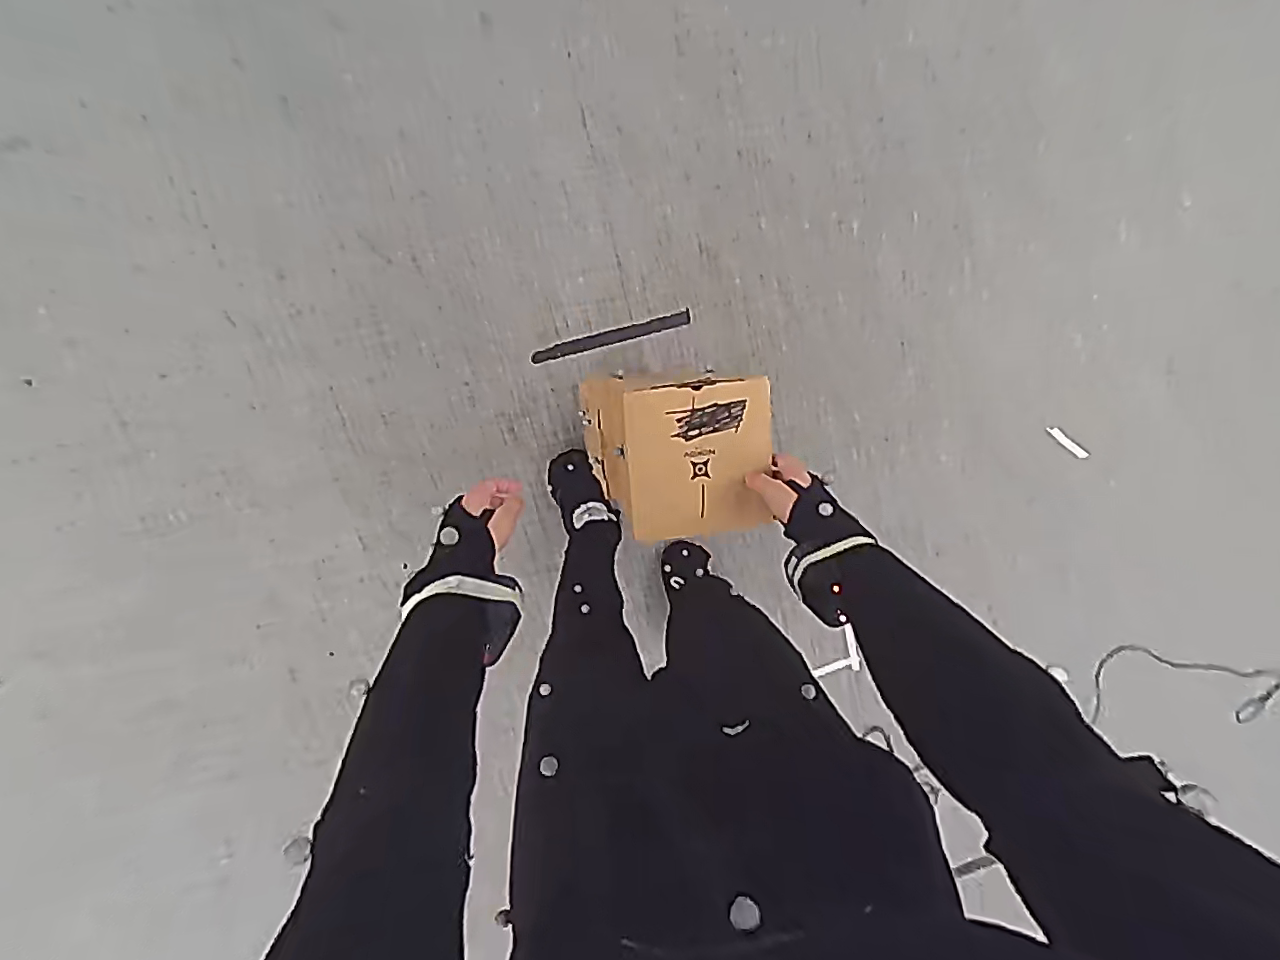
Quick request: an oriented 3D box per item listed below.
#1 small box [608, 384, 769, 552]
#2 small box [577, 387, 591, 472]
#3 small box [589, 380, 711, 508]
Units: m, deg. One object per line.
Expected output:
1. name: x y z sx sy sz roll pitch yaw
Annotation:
1. small box: 0.054 -0.027 0.683 0.168 0.176 0.179 -6 105 -7
2. small box: -0.035 -0.118 1.158 0.179 0.176 0.168 -7 103 -8
3. small box: 0.014 -0.064 0.839 0.179 0.176 0.168 -7 104 -8
